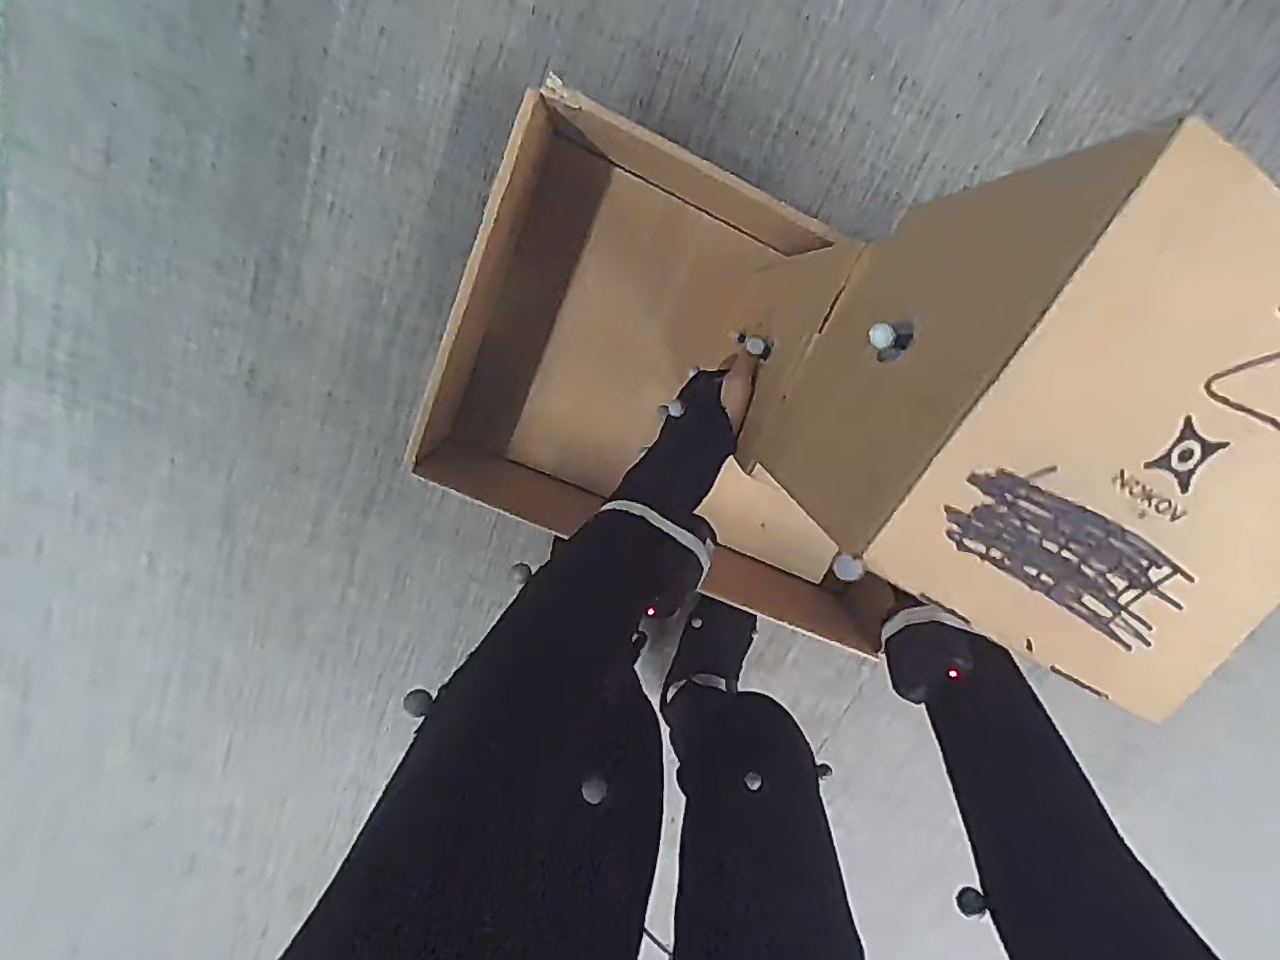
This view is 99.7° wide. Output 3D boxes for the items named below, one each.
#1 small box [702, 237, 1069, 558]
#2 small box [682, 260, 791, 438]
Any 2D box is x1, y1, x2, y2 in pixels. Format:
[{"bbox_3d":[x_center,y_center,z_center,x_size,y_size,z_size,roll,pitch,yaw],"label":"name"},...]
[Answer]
[{"bbox_3d":[0.165,-0.070,0.435,0.179,0.176,0.168,22,108,-9],"label":"small box"},{"bbox_3d":[0.157,-0.117,0.593,0.168,0.176,0.179,26,107,-10],"label":"small box"}]
